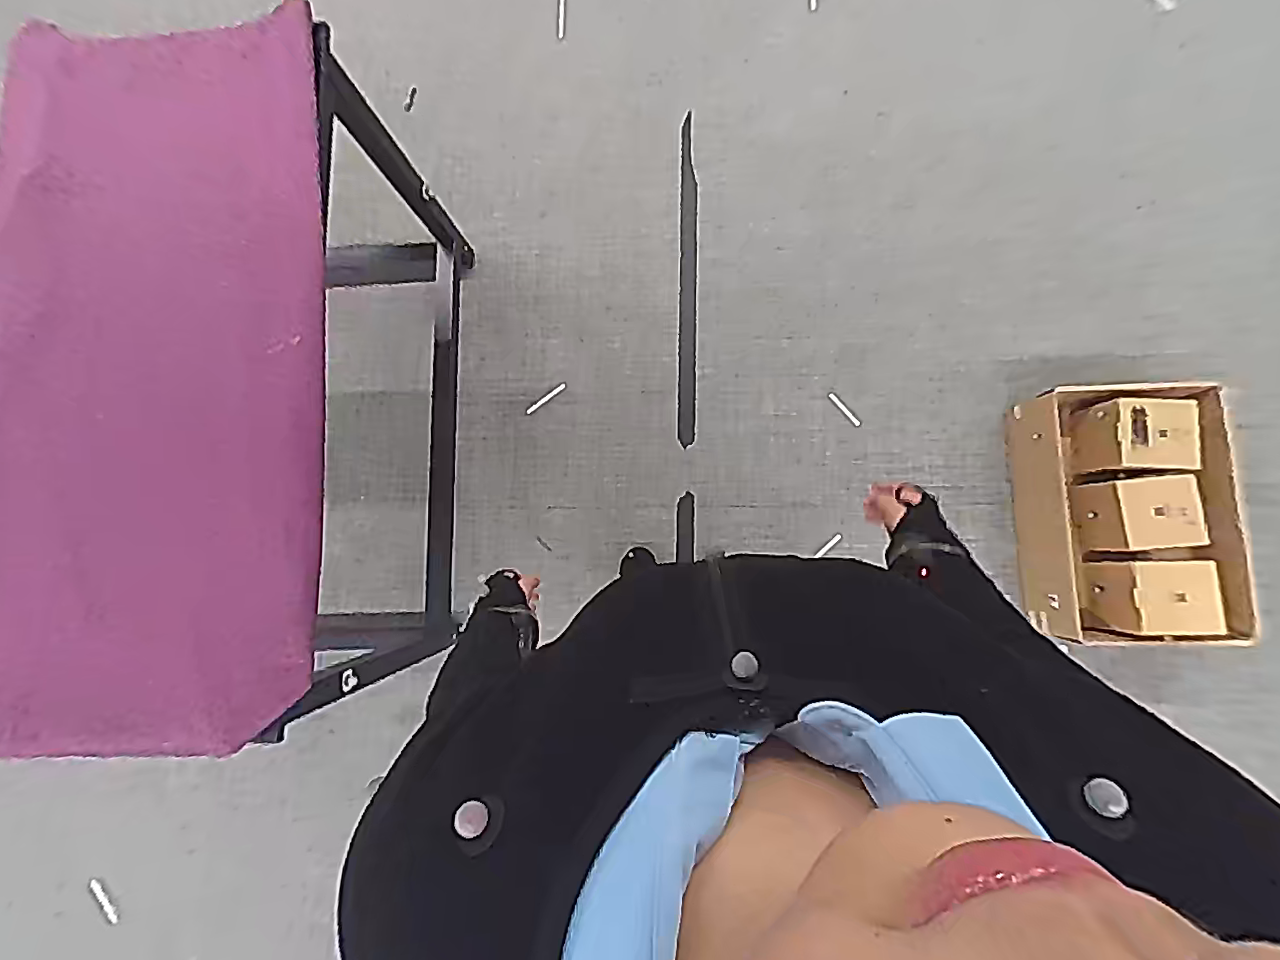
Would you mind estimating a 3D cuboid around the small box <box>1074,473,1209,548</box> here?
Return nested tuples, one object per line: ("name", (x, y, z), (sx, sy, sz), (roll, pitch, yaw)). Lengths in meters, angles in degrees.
("small box", (1.210, 0.080, 1.323), (0.179, 0.176, 0.168), (-6, 84, 4))

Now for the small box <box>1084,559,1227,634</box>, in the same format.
("small box", (1.226, 0.274, 1.298), (0.179, 0.176, 0.168), (-2, 81, 5))
